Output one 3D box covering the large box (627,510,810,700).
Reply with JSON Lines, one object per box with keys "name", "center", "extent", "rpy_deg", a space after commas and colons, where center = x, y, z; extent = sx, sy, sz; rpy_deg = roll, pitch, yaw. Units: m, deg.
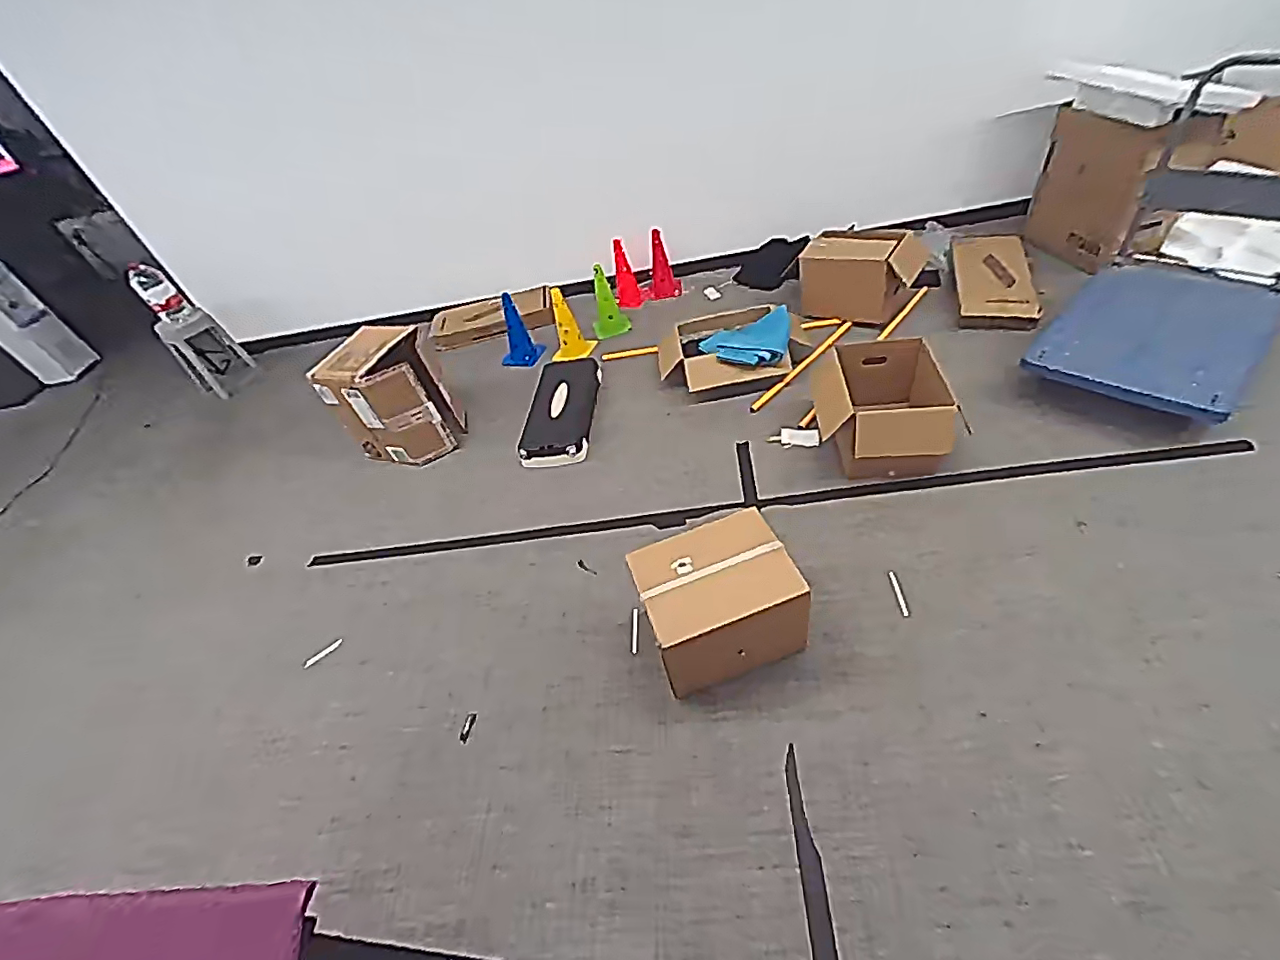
{"name": "large box", "center": [0.221, 0.352, 1.525], "extent": [0.408, 0.320, 0.320], "rpy_deg": [-21, 44, -5]}
